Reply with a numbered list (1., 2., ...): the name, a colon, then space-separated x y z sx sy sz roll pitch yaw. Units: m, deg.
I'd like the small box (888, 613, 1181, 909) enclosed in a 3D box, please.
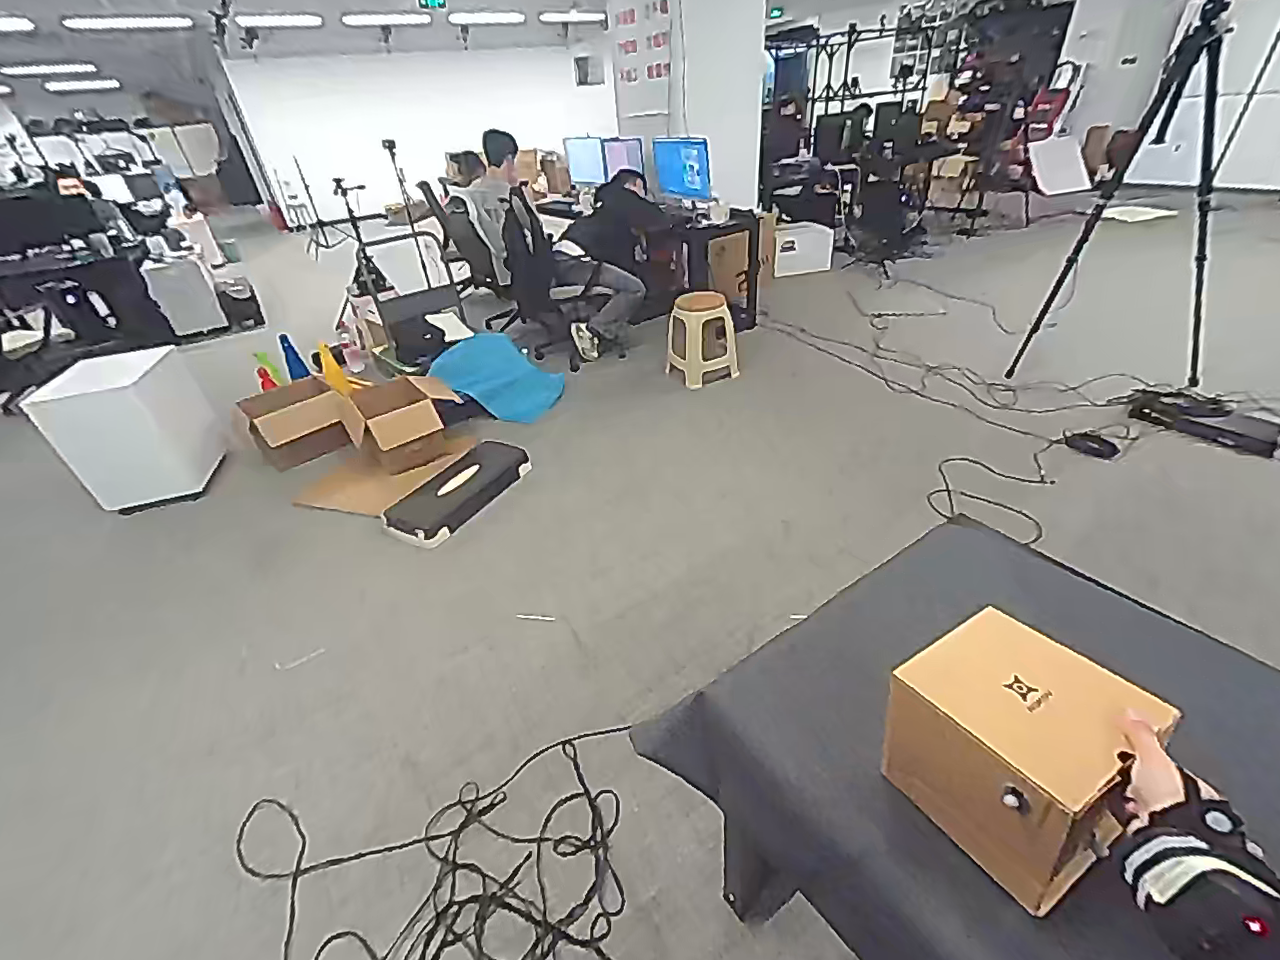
1. small box: 0.384 0.278 0.559 0.168 0.176 0.179 -21 31 -22
